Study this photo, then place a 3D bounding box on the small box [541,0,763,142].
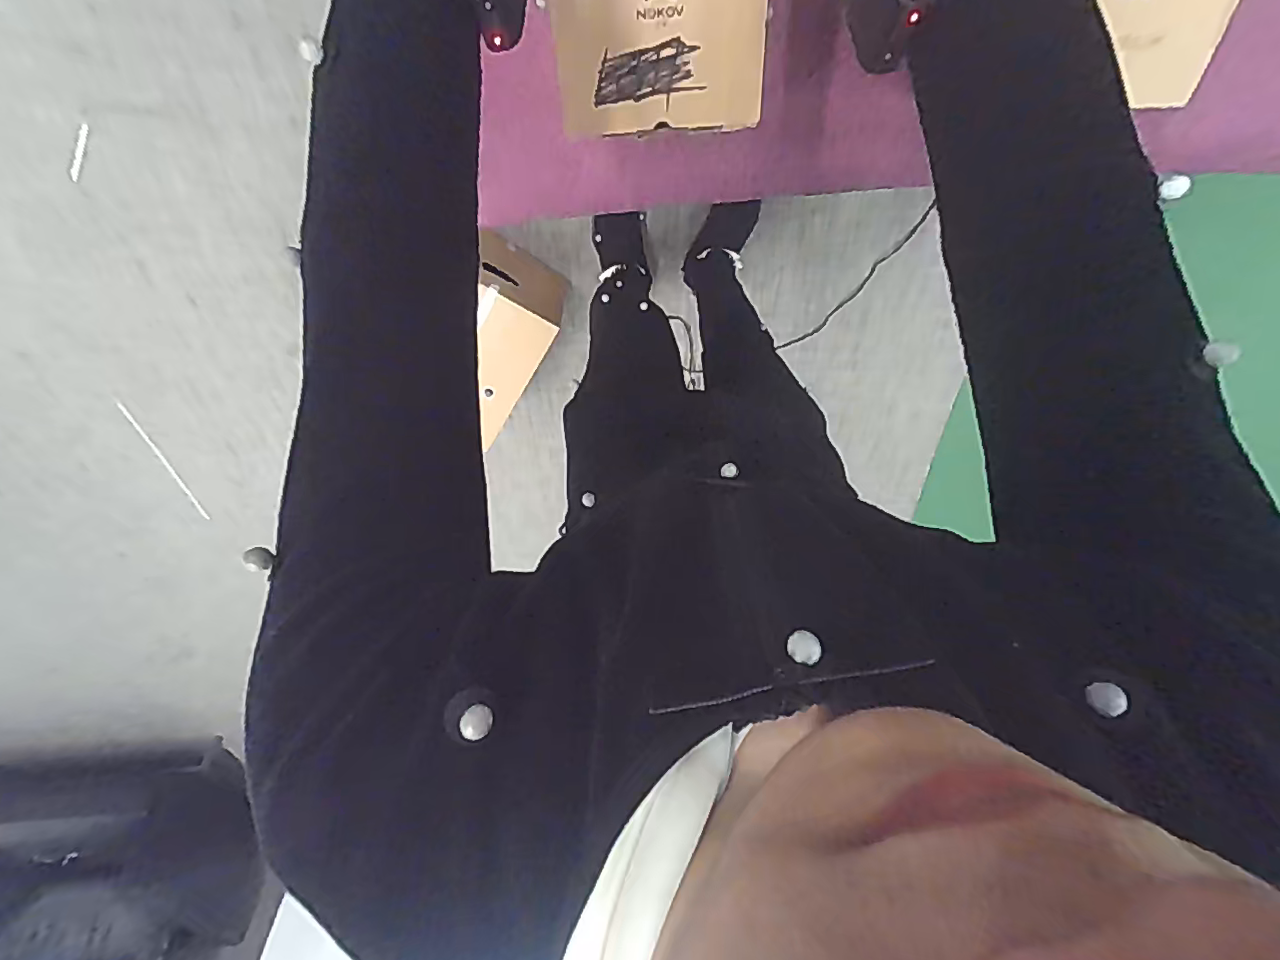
[{"bbox_3d":[0.007,-0.402,0.456,0.168,0.176,0.179,-4,128,1],"label":"small box"}]
